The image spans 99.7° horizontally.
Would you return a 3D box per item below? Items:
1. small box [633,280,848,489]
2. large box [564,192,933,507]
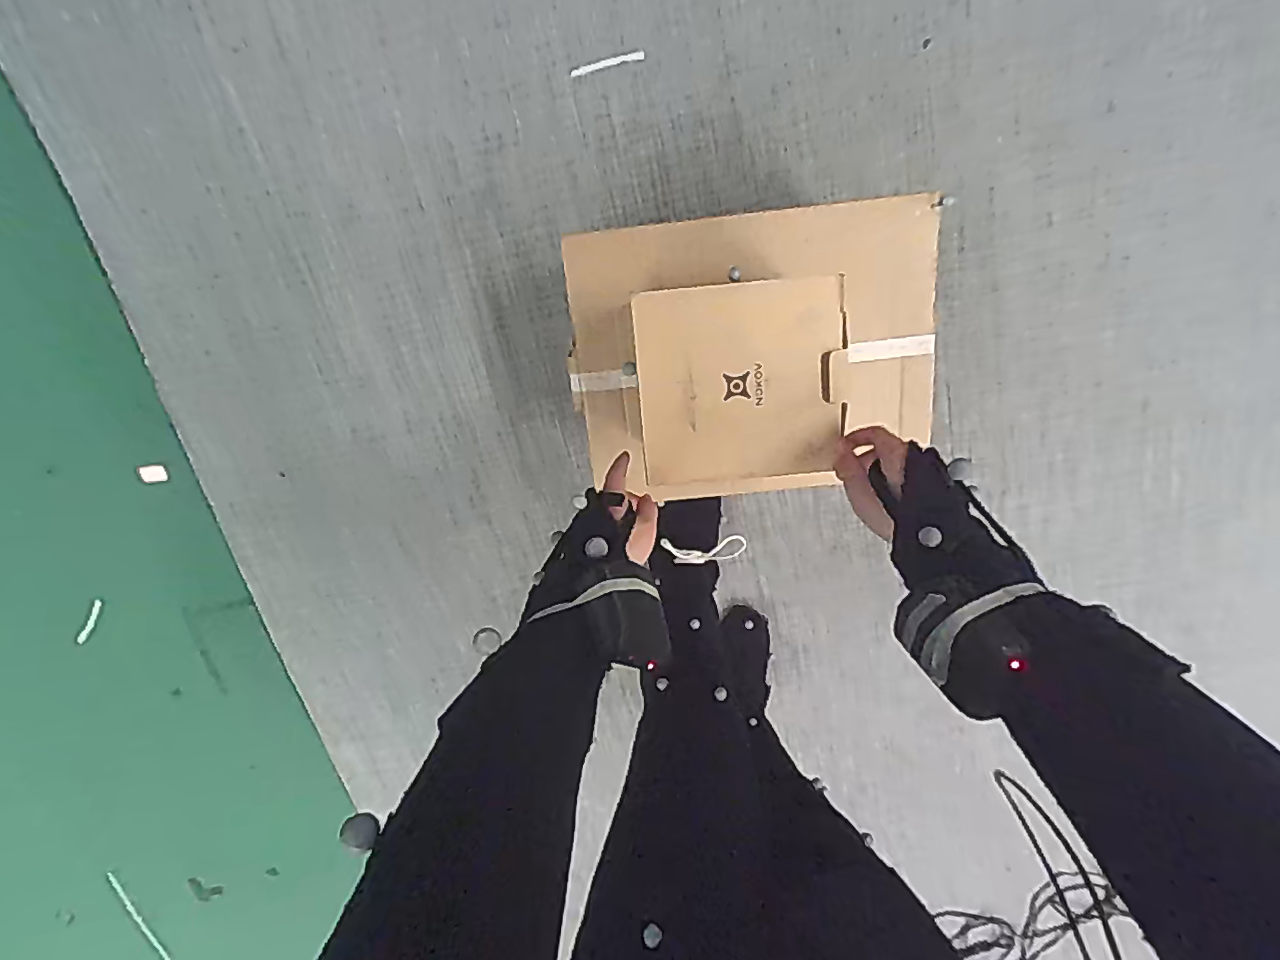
[{"bbox_3d":[0.087,-0.098,0.530,0.179,0.176,0.168,-5,105,3],"label":"small box"},{"bbox_3d":[0.129,-0.176,0.760,0.408,0.320,0.320,-6,107,1],"label":"large box"}]
